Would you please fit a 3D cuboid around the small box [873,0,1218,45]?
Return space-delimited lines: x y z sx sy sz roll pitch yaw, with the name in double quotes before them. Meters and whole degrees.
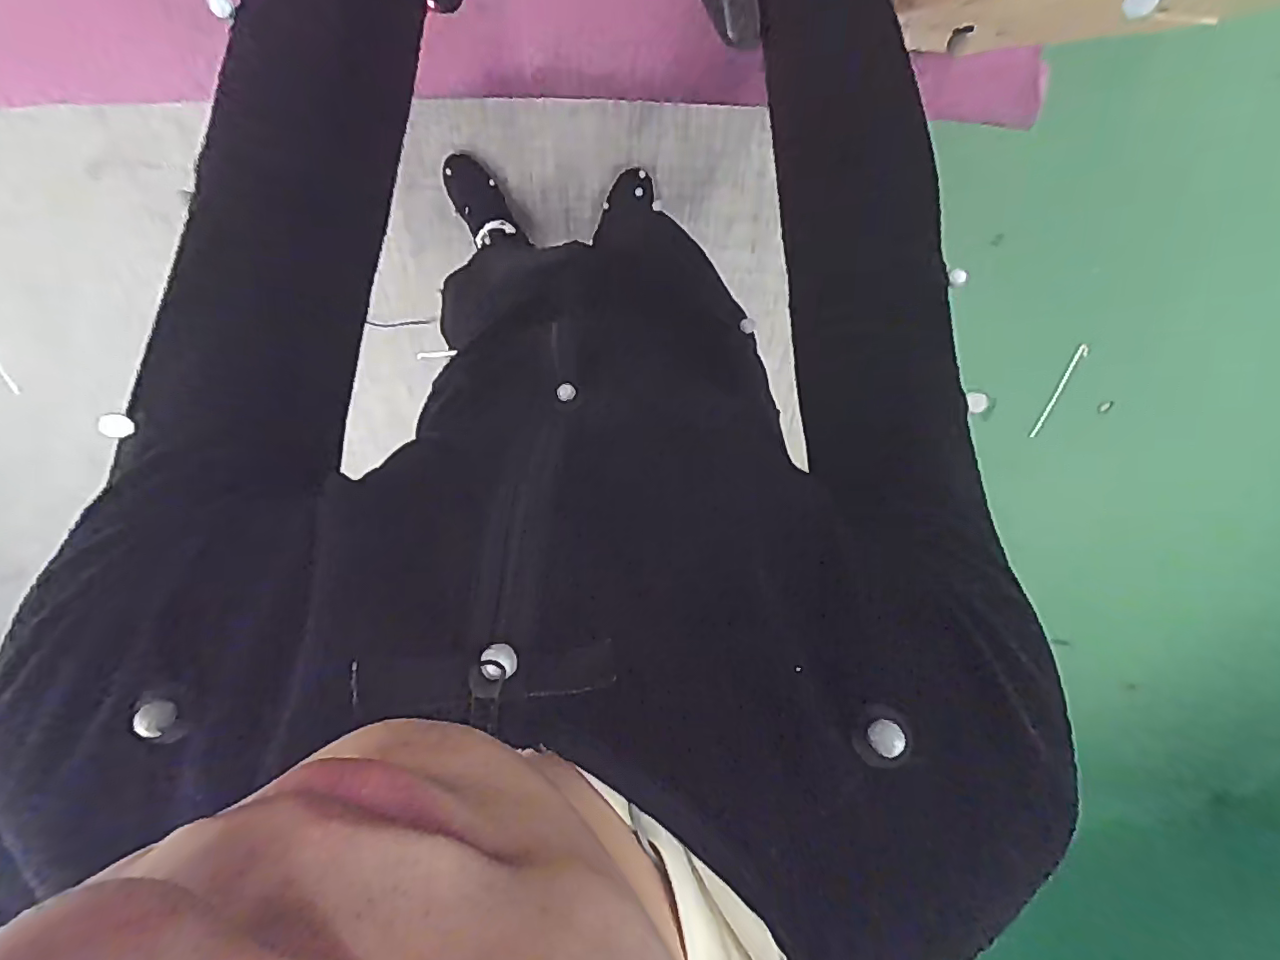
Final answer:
"small box" 0.274 -0.402 0.345 0.168 0.176 0.179 5 126 -2

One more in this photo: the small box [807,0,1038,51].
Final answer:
"small box" 0.271 -0.495 0.479 0.179 0.176 0.168 4 125 -3
